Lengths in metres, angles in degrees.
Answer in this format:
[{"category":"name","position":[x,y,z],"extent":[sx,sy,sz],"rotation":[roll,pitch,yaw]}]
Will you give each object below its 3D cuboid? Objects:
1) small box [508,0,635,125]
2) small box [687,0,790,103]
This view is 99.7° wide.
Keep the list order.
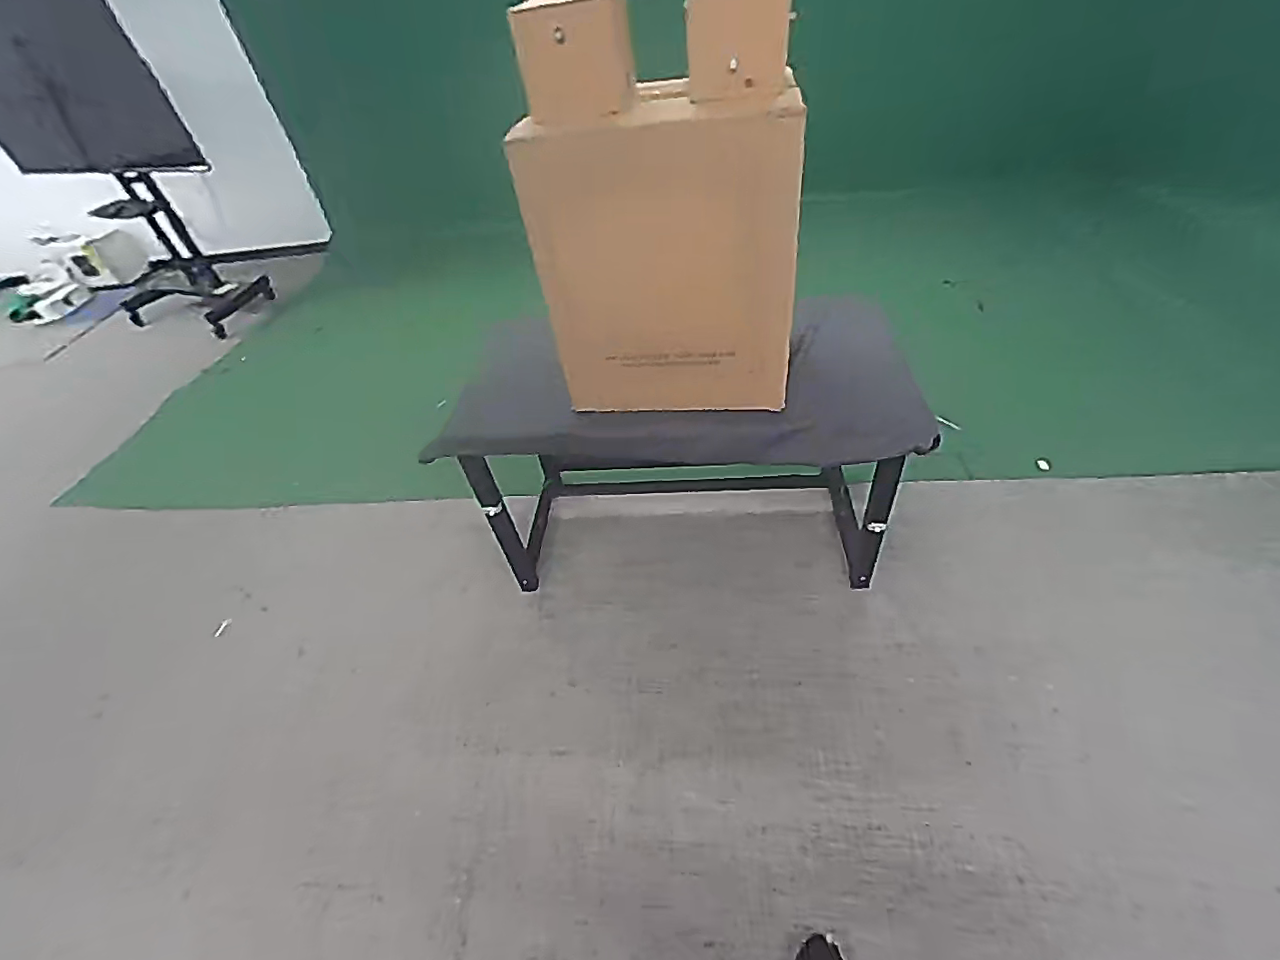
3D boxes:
[{"category":"small box","position":[-0.115,-0.773,0.993],"extent":[0.179,0.176,0.168],"rotation":[2,48,10]},{"category":"small box","position":[0.170,-0.784,0.950],"extent":[0.168,0.176,0.179],"rotation":[2,48,9]}]
